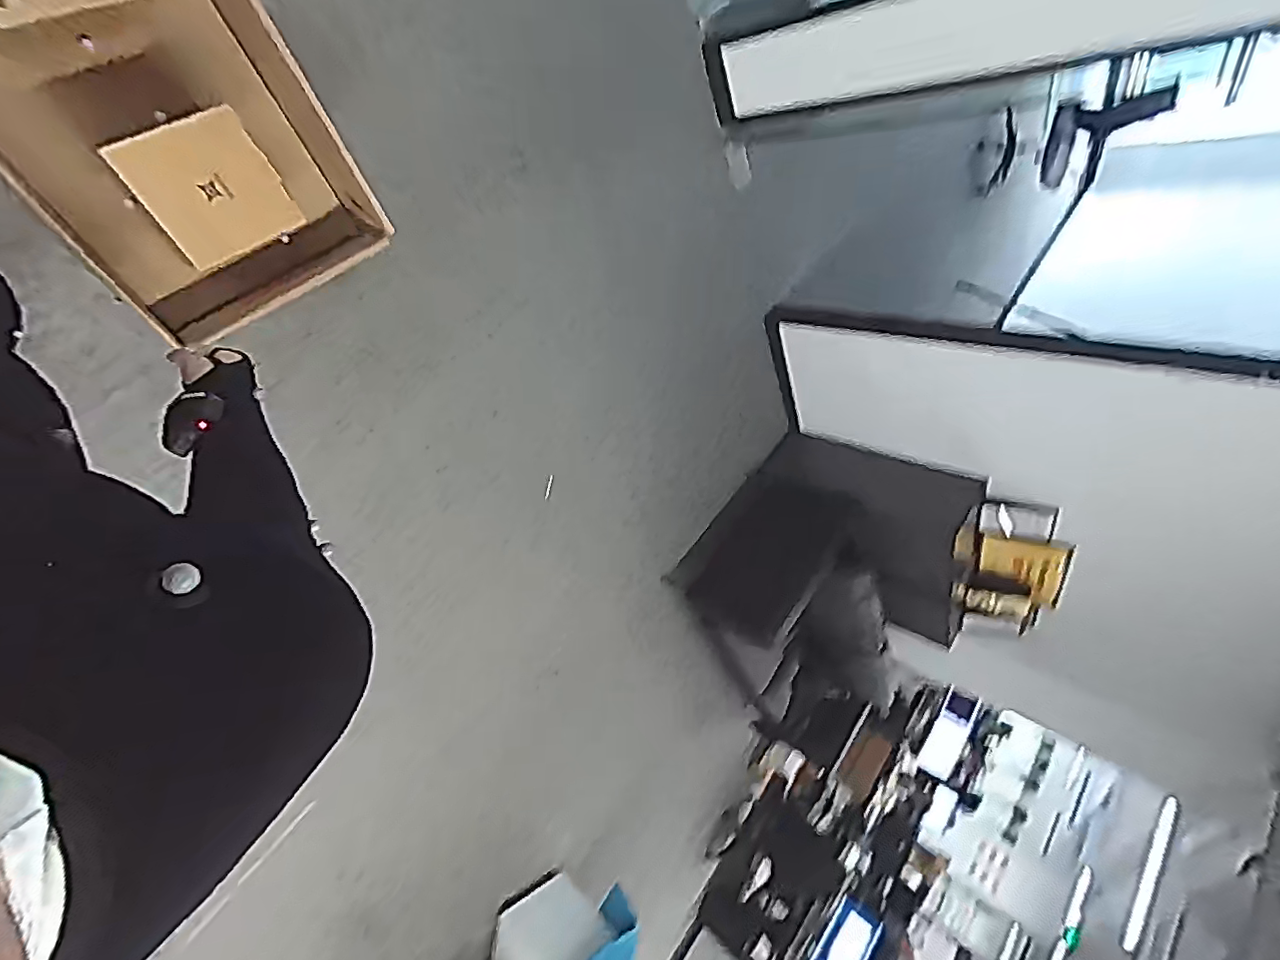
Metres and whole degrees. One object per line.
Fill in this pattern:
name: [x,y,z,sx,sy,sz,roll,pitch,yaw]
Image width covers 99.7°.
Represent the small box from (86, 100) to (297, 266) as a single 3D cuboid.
small box: [-0.673,-0.442,0.818,0.179,0.176,0.168,-44,135,-25]
